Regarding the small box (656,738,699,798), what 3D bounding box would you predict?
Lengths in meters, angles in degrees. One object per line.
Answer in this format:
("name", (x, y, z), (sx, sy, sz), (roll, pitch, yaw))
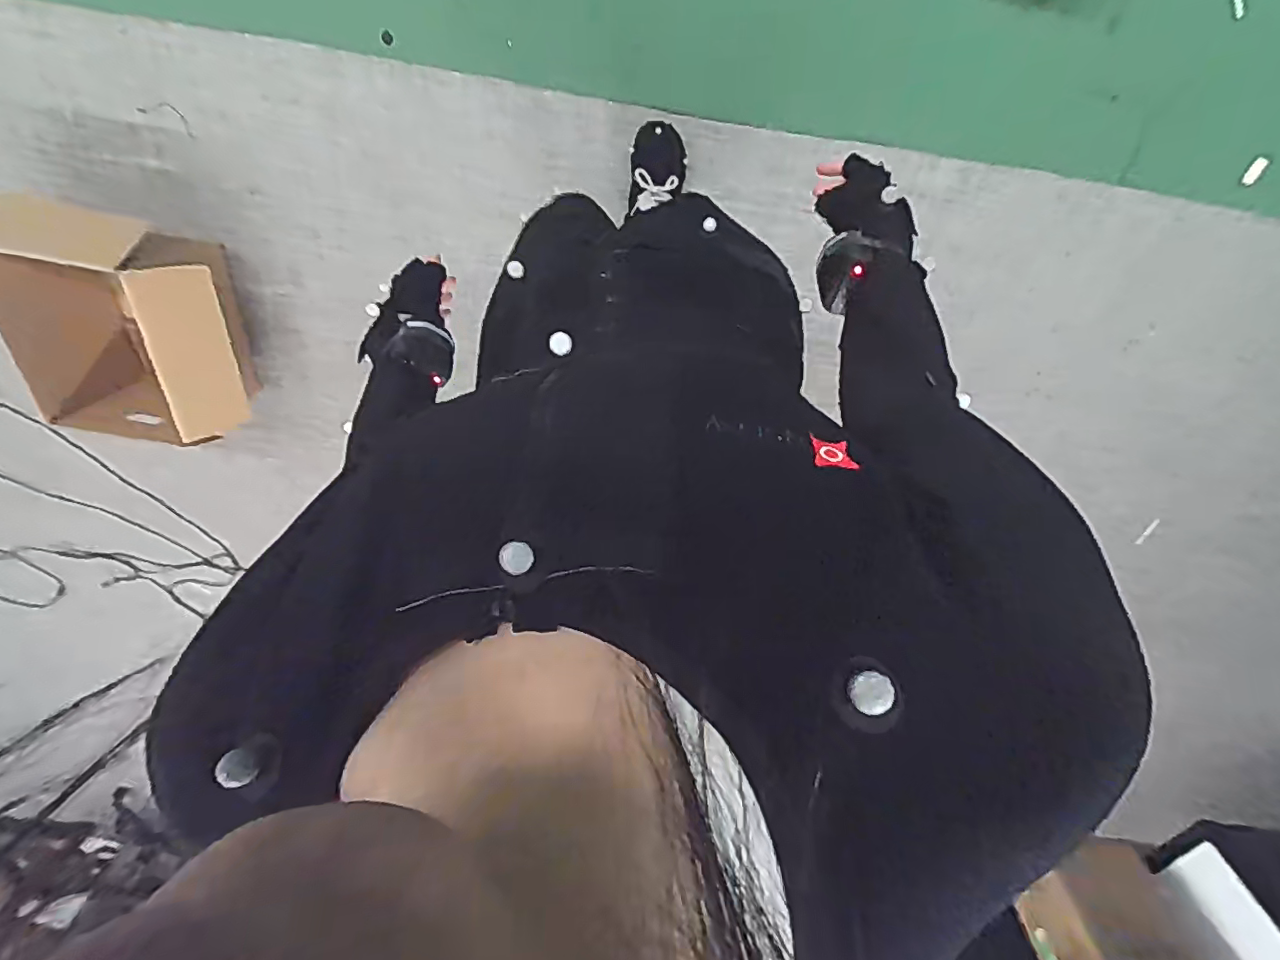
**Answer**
("small box", (0.165, 1.282, 2.405), (0.168, 0.176, 0.179), (6, 123, -3))
